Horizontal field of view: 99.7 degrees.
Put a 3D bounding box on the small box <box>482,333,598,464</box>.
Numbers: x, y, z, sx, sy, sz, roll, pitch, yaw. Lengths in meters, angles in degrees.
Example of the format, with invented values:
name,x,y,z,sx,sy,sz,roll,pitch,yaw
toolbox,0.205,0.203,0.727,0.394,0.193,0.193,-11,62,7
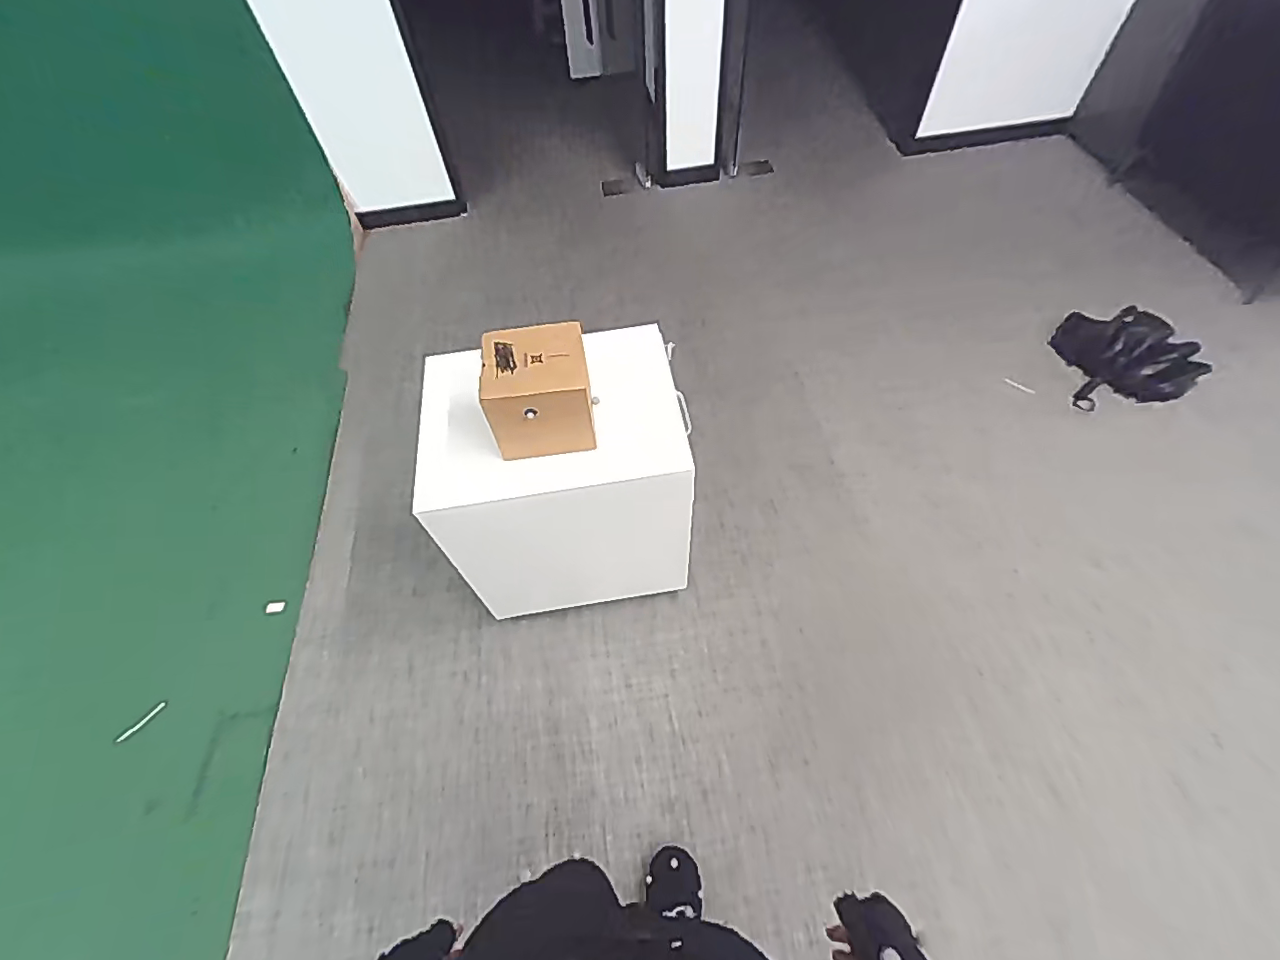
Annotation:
name,x,y,z,sx,sy,sz,roll,pitch,yaw
small box,-0.177,-0.144,0.992,0.179,0.176,0.168,-7,56,-2
